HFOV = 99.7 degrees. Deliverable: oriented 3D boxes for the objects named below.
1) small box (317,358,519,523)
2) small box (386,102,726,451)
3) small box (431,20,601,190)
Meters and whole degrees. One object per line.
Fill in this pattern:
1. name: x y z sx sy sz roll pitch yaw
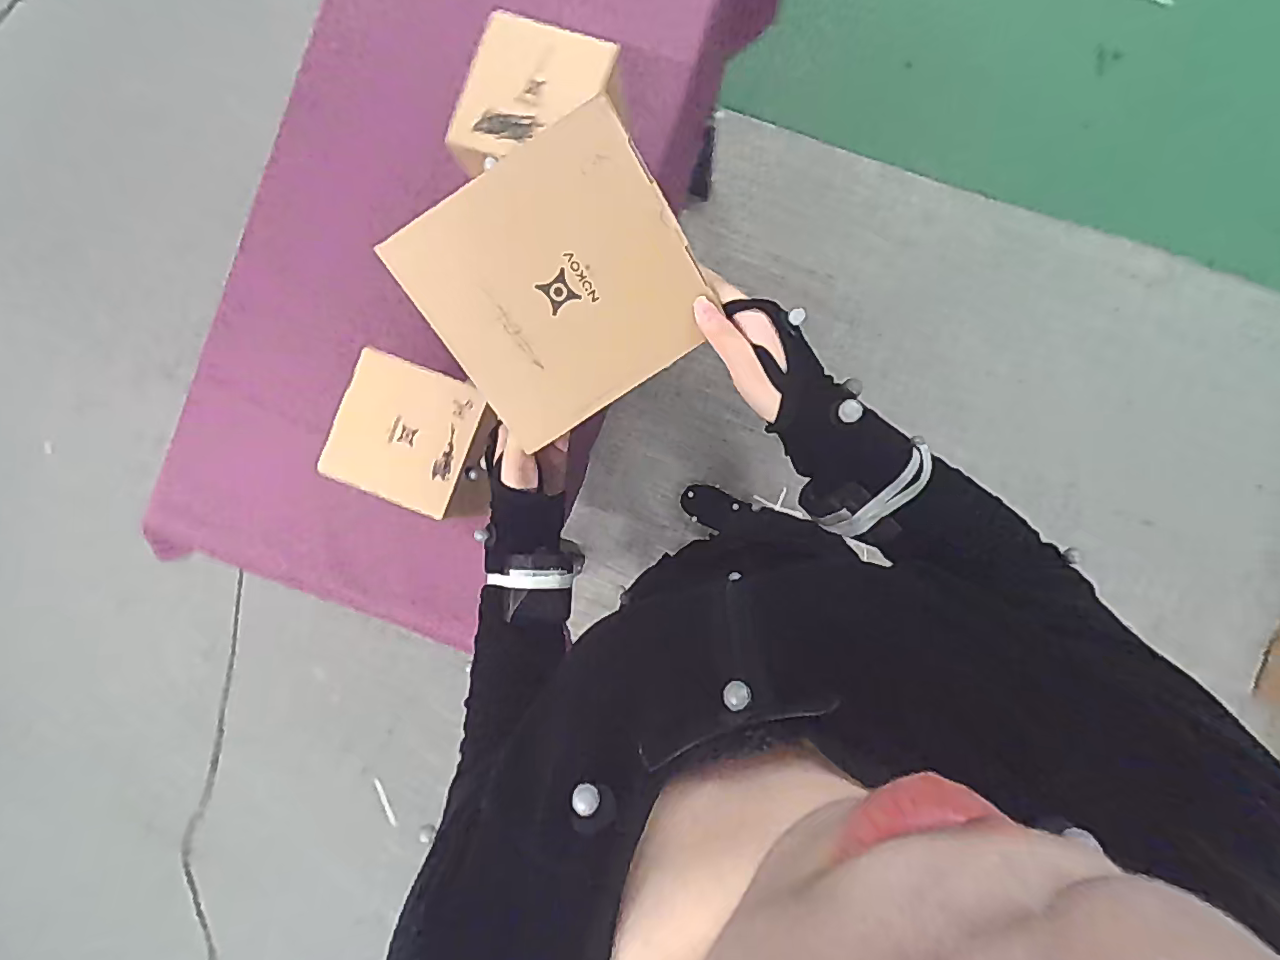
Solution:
1. small box: -0.286 -0.046 0.739 0.179 0.176 0.168 19 91 7
2. small box: -0.061 -0.153 0.440 0.179 0.176 0.168 -31 108 4
3. small box: -0.149 -0.460 0.738 0.168 0.176 0.179 18 89 6
